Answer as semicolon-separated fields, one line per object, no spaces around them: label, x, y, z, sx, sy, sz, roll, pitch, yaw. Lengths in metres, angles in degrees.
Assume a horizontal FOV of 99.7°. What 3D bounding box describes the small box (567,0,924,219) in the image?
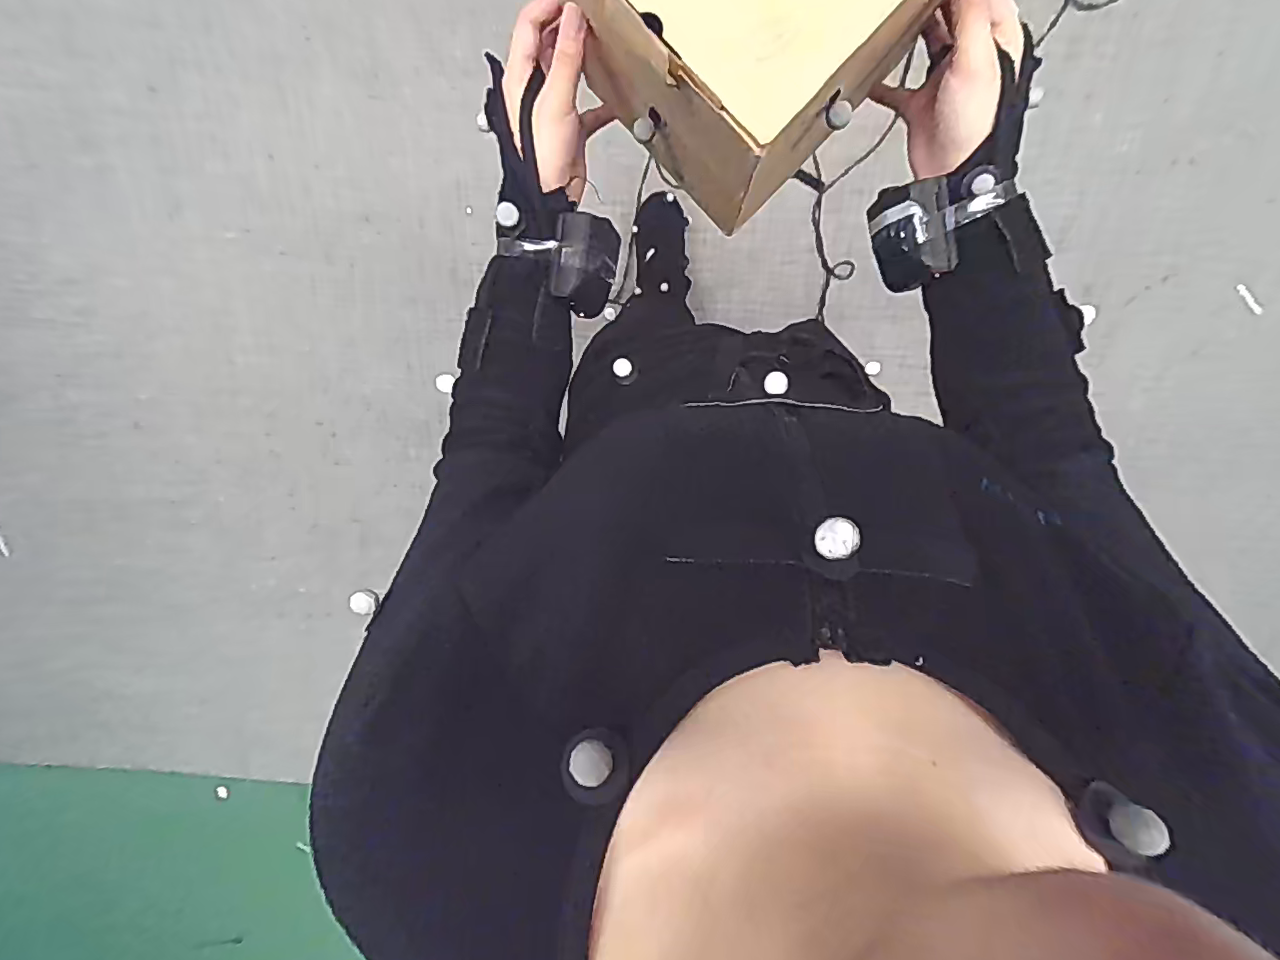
small box;0.069;-0.303;0.340;0.168;0.176;0.179;45;101;-4
